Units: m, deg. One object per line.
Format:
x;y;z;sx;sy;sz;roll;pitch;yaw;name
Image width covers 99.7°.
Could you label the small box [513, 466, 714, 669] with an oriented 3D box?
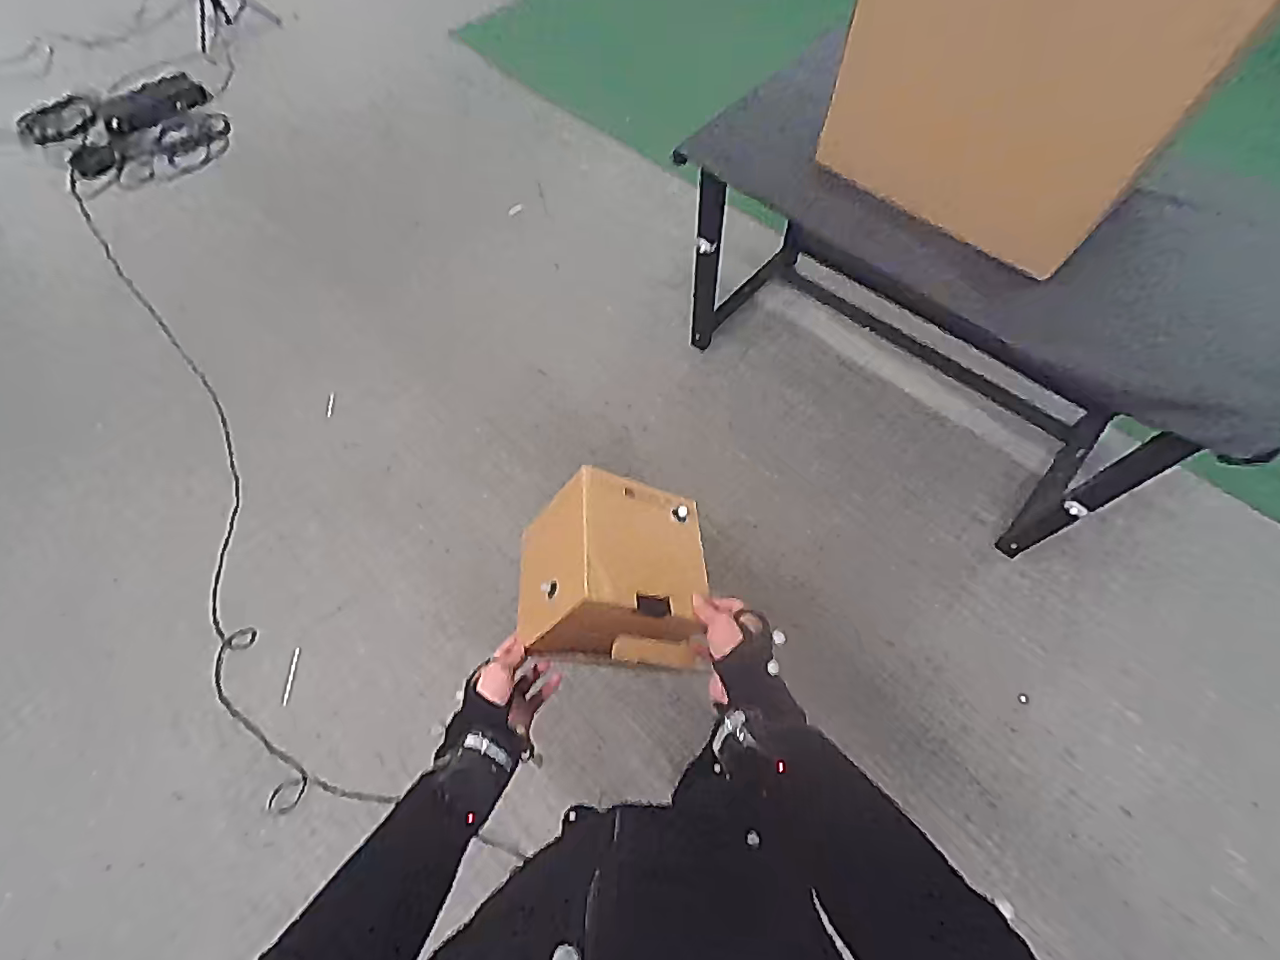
-0.039;0.109;0.651;0.168;0.179;0.176;20;46;-29;small box
